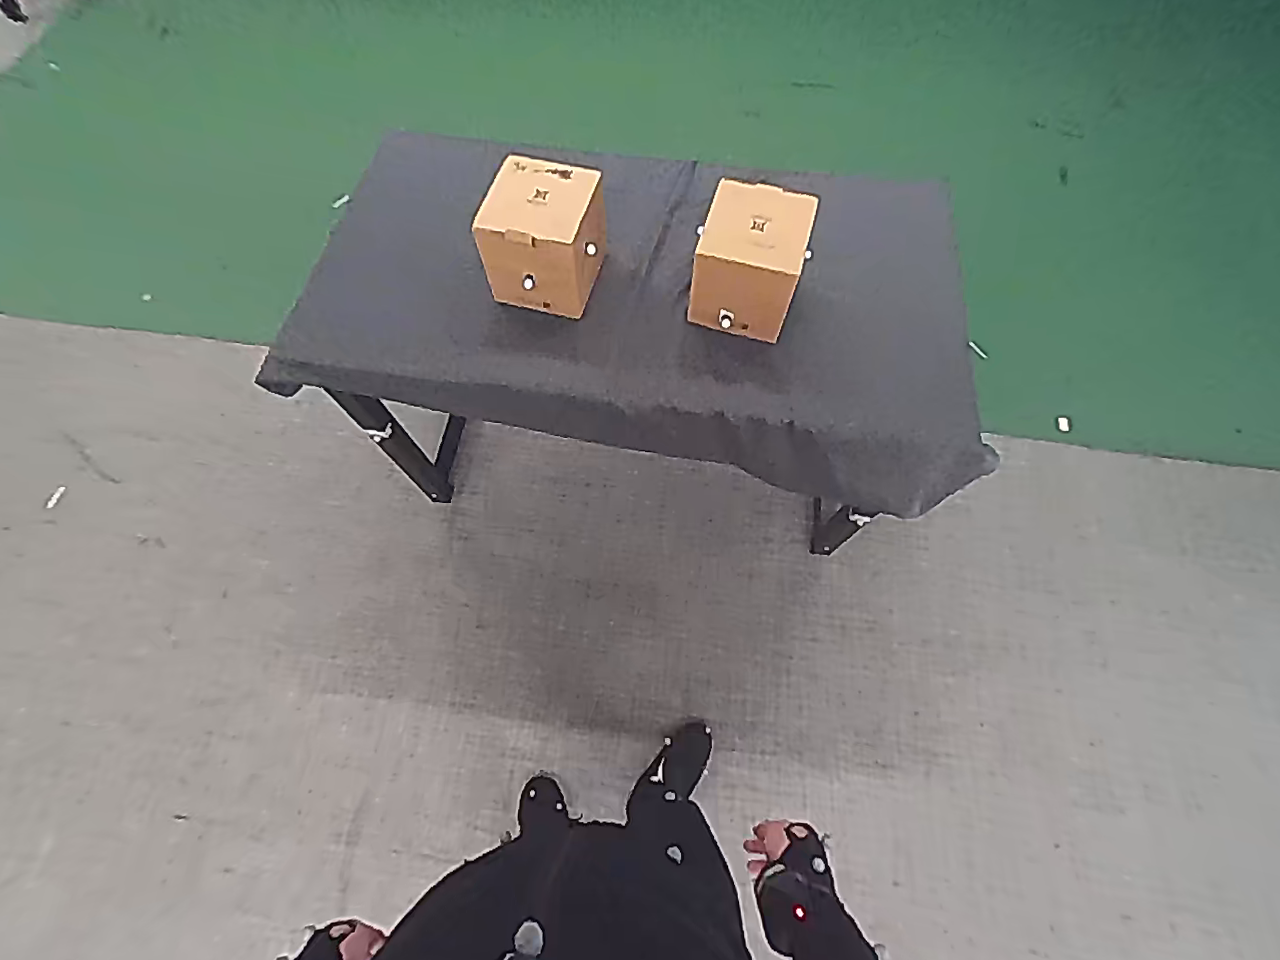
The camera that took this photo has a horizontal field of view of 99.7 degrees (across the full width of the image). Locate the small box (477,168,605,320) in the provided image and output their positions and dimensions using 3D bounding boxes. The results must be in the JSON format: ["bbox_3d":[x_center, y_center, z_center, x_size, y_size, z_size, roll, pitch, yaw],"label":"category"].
[{"bbox_3d":[-0.160,-0.408,0.953,0.168,0.176,0.179,10,66,5],"label":"small box"}]

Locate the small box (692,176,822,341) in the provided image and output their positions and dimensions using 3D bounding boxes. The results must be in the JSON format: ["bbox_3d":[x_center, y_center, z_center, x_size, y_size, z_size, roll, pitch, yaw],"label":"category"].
[{"bbox_3d":[0.190,-0.370,0.917,0.168,0.176,0.179,16,67,9],"label":"small box"}]
